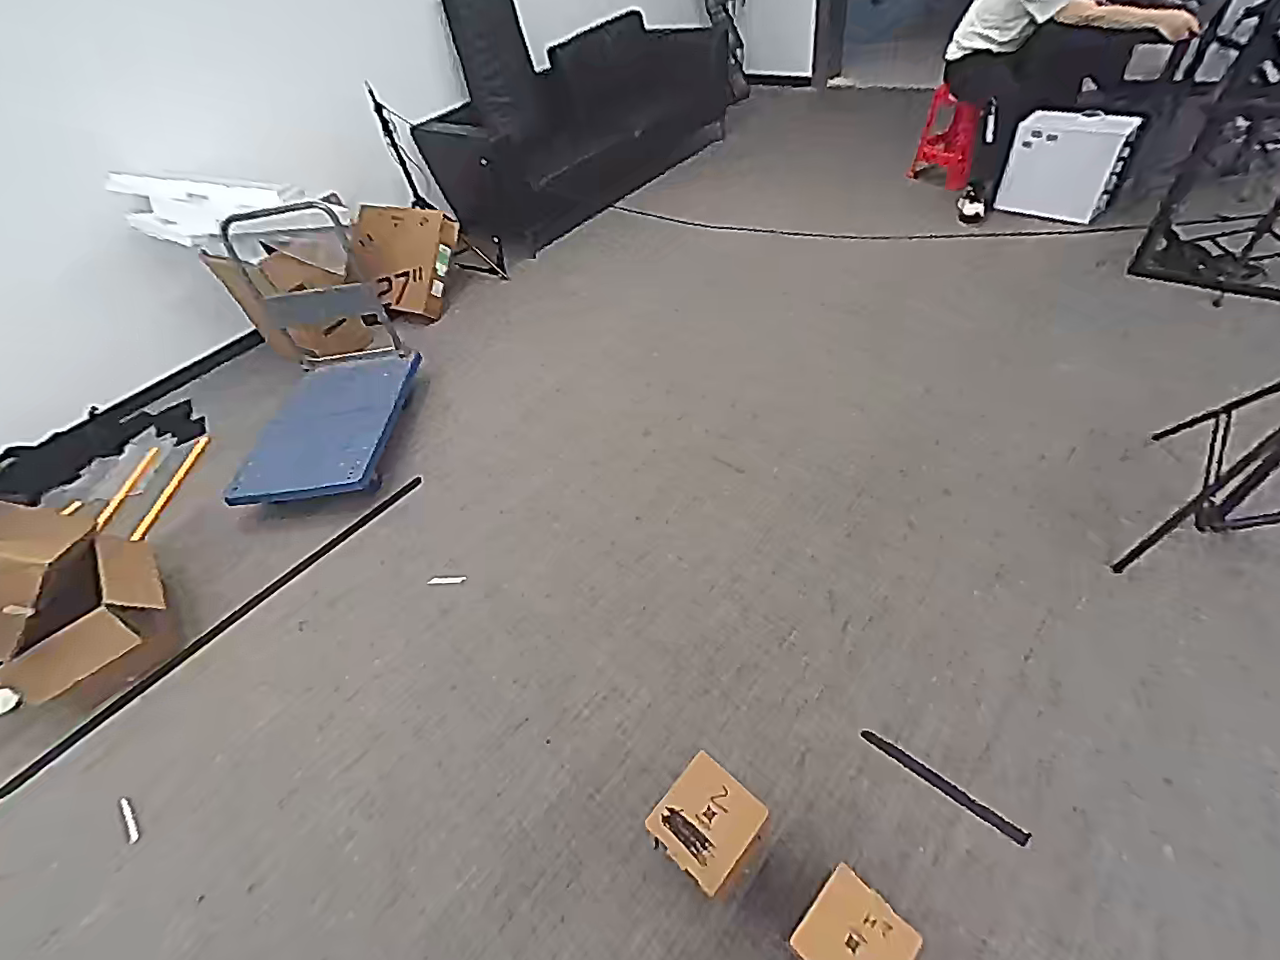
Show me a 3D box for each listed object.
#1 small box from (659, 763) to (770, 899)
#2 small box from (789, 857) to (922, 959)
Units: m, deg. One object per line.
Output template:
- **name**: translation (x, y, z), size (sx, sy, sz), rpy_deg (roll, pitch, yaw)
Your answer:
- **small box**: translation (0.165, 0.768, 1.182), size (0.168, 0.176, 0.179), rpy_deg (32, 62, 34)
- **small box**: translation (0.402, 0.873, 1.031), size (0.179, 0.176, 0.168), rpy_deg (-40, 53, -23)
